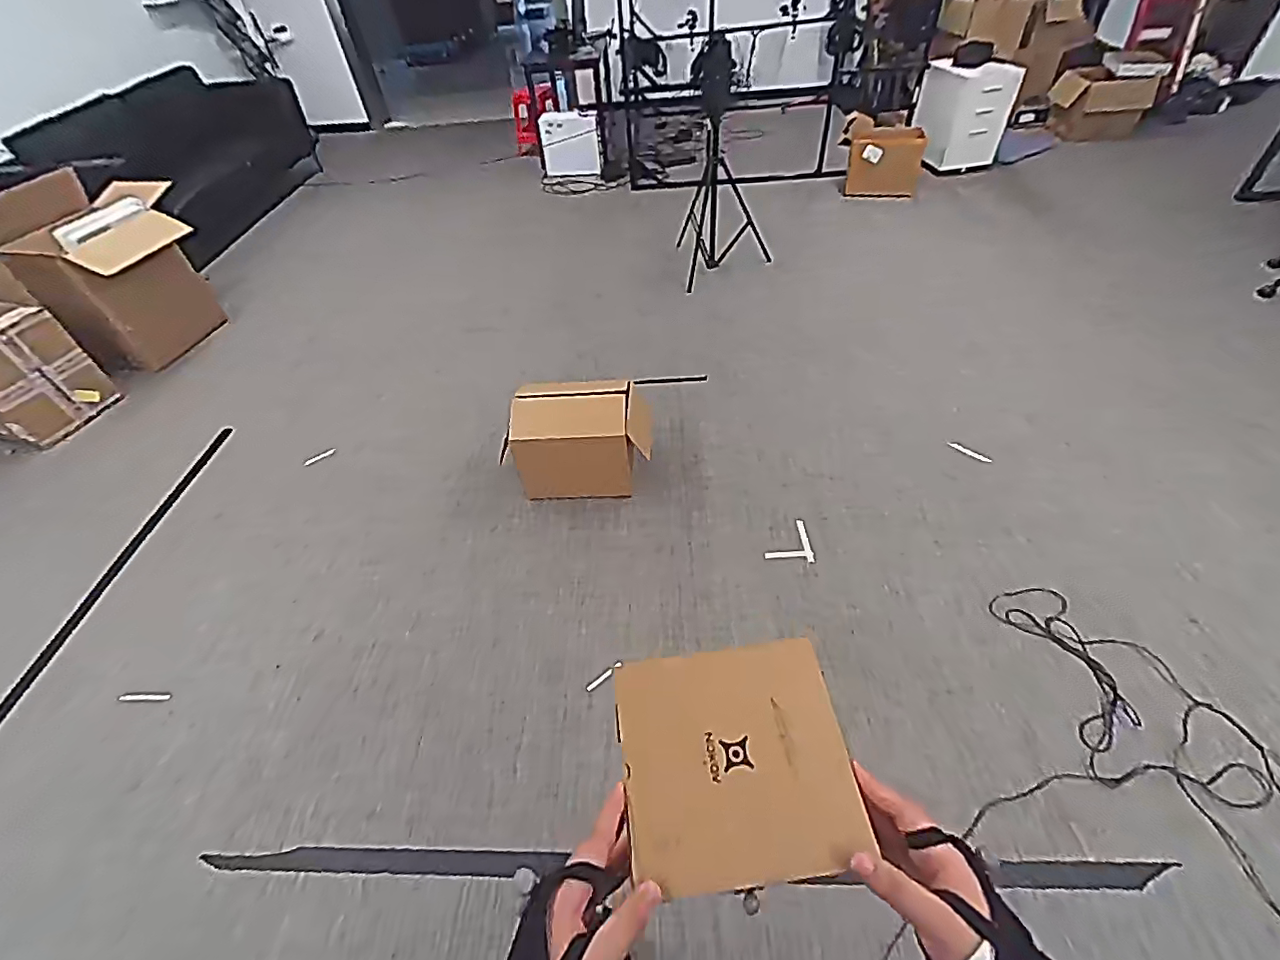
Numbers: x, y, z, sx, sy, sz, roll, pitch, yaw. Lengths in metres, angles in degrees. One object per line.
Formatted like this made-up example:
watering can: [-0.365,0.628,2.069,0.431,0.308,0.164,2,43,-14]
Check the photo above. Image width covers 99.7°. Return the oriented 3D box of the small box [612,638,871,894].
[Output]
small box: [0.078,0.265,0.493,0.179,0.176,0.168,-9,53,-1]
